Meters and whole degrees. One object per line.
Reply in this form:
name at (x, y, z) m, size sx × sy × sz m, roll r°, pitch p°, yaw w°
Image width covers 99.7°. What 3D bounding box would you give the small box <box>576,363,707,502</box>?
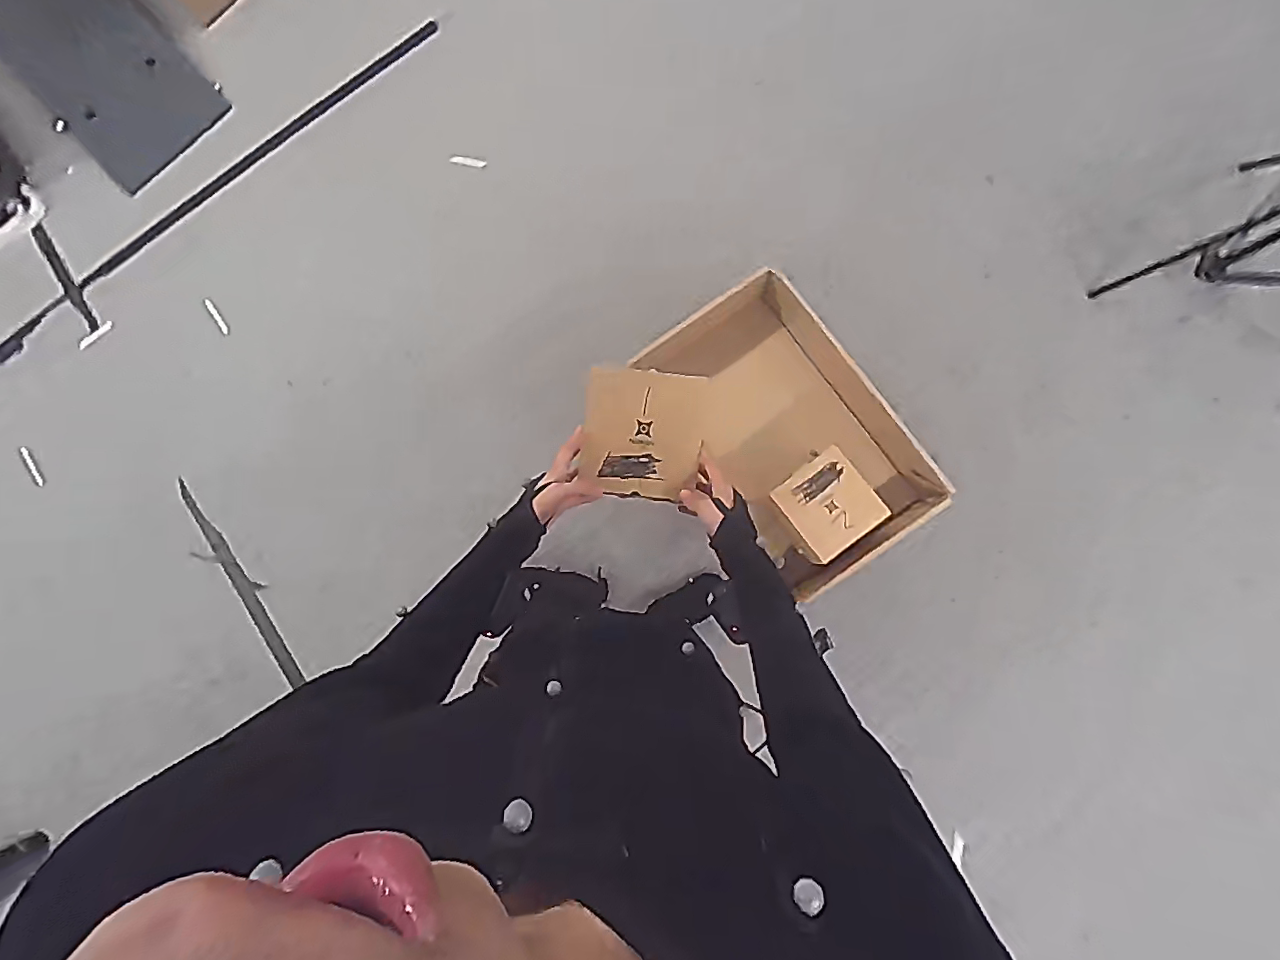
small box at (0.002, -0.071, 0.818) m, size 0.168 × 0.176 × 0.179 m, roll 6°, pitch 95°, yaw -1°
